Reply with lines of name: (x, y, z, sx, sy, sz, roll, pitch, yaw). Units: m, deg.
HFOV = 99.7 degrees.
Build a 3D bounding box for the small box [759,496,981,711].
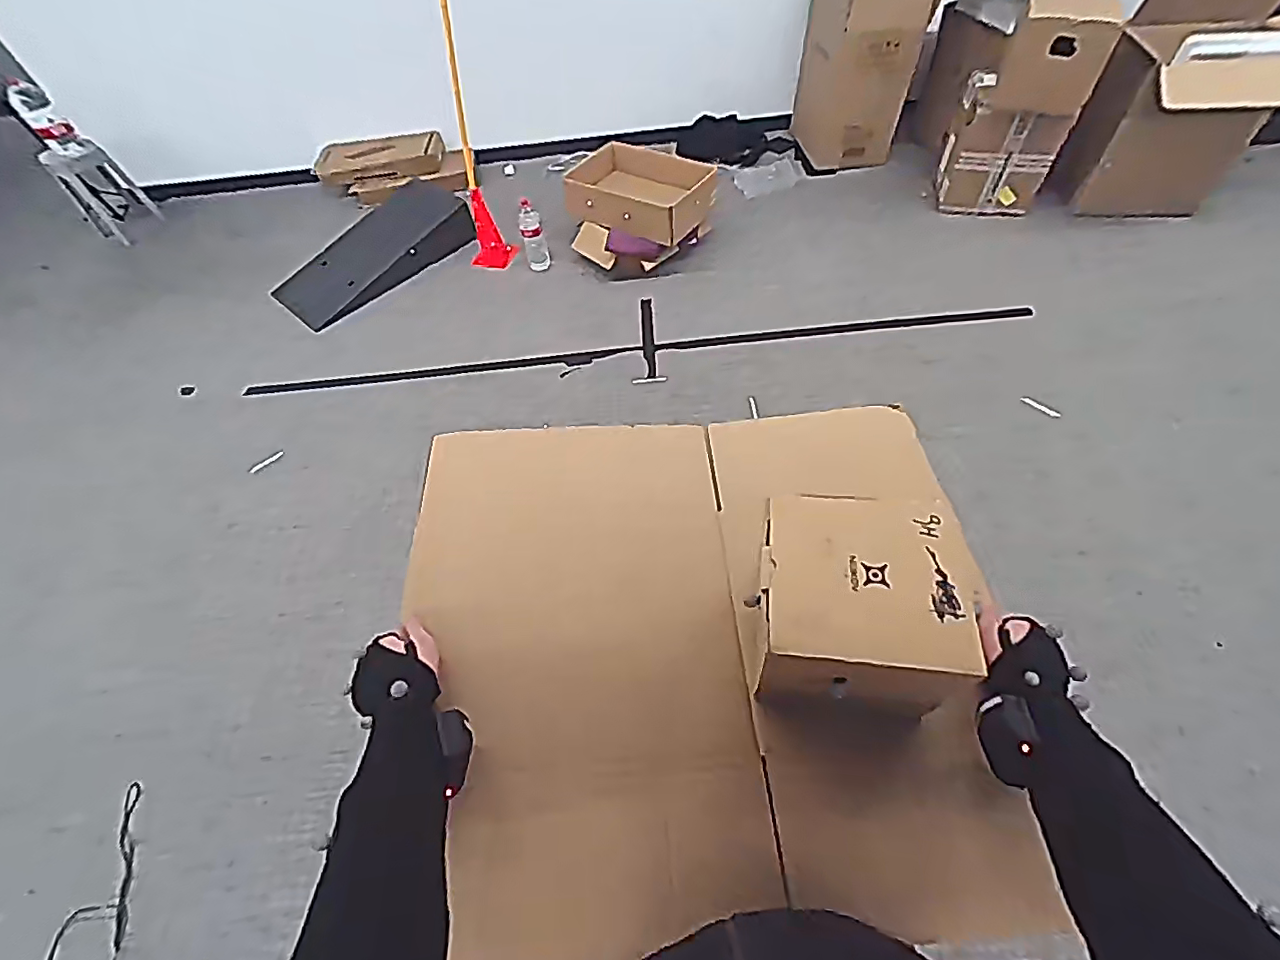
small box: (0.218, 0.133, 0.567, 0.179, 0.176, 0.168, 3, 57, 10)
